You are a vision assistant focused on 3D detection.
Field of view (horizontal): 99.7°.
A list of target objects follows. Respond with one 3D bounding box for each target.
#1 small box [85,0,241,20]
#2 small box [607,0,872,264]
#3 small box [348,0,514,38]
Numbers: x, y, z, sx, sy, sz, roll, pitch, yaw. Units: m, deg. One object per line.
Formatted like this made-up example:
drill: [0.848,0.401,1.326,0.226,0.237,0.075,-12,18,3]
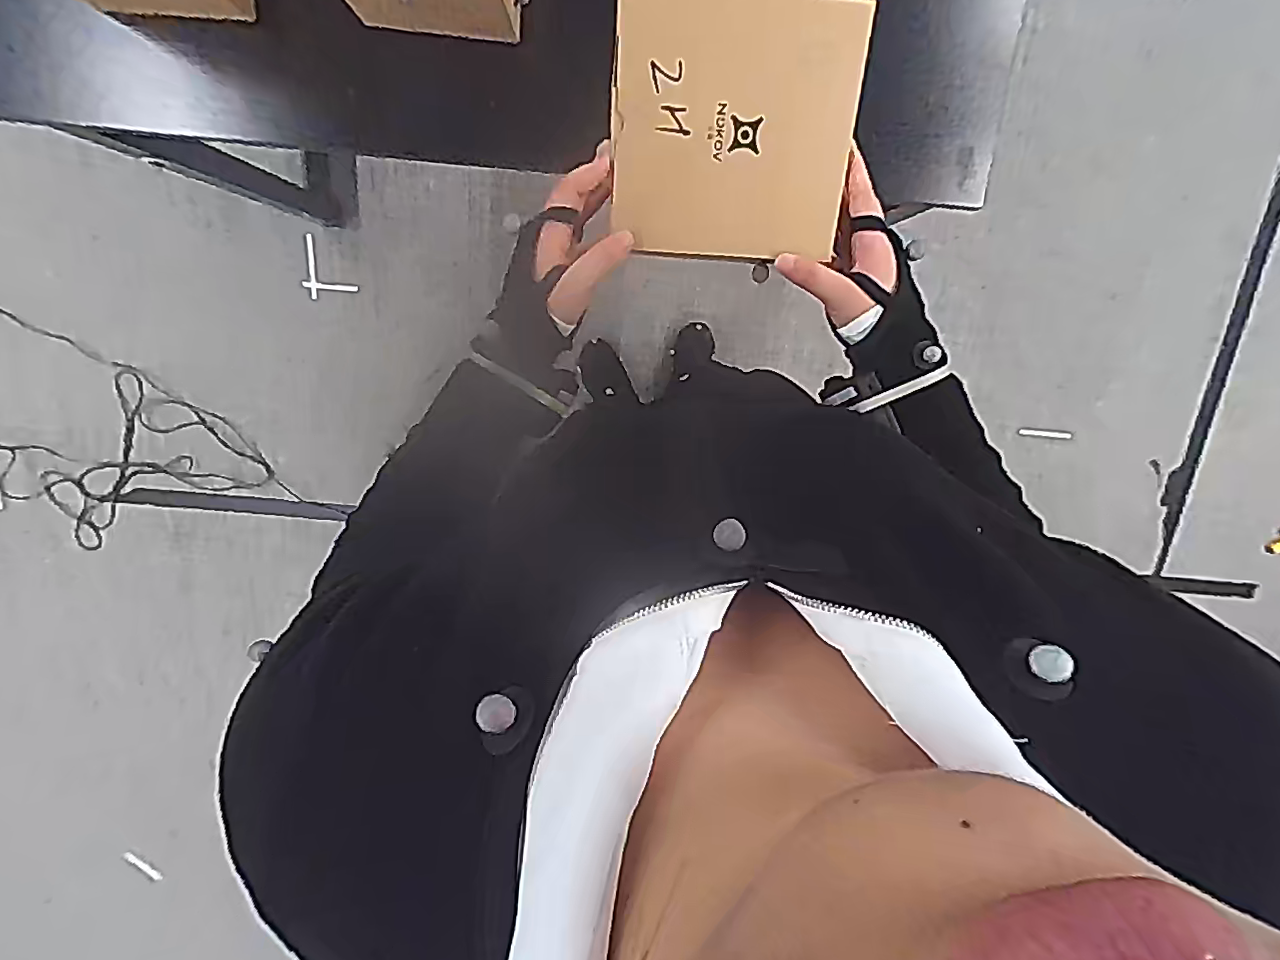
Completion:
small box: [-0.513,-0.577,0.509,0.179,0.176,0.168,1,104,-2]
small box: [0.064,-0.281,0.465,0.179,0.176,0.168,3,111,-2]
small box: [-0.218,-0.567,0.520,0.179,0.176,0.168,5,104,-2]
